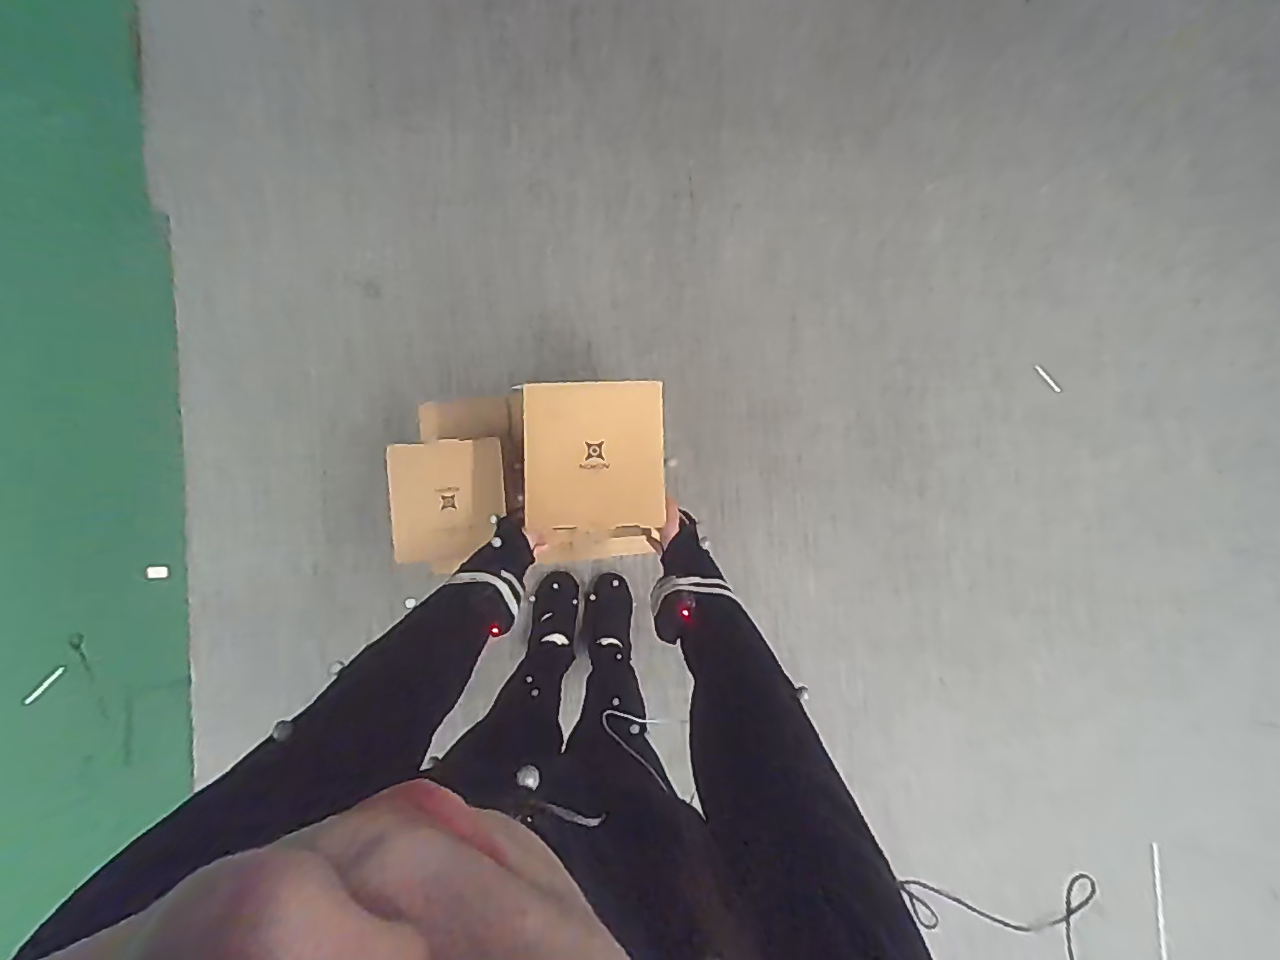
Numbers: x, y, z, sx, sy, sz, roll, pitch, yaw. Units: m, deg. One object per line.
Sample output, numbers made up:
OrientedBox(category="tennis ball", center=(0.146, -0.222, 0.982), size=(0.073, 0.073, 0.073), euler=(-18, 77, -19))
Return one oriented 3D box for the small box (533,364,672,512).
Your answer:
OrientedBox(category="small box", center=(-0.048, -0.047, 0.717), size=(0.168, 0.176, 0.179), euler=(-1, 89, -2))
